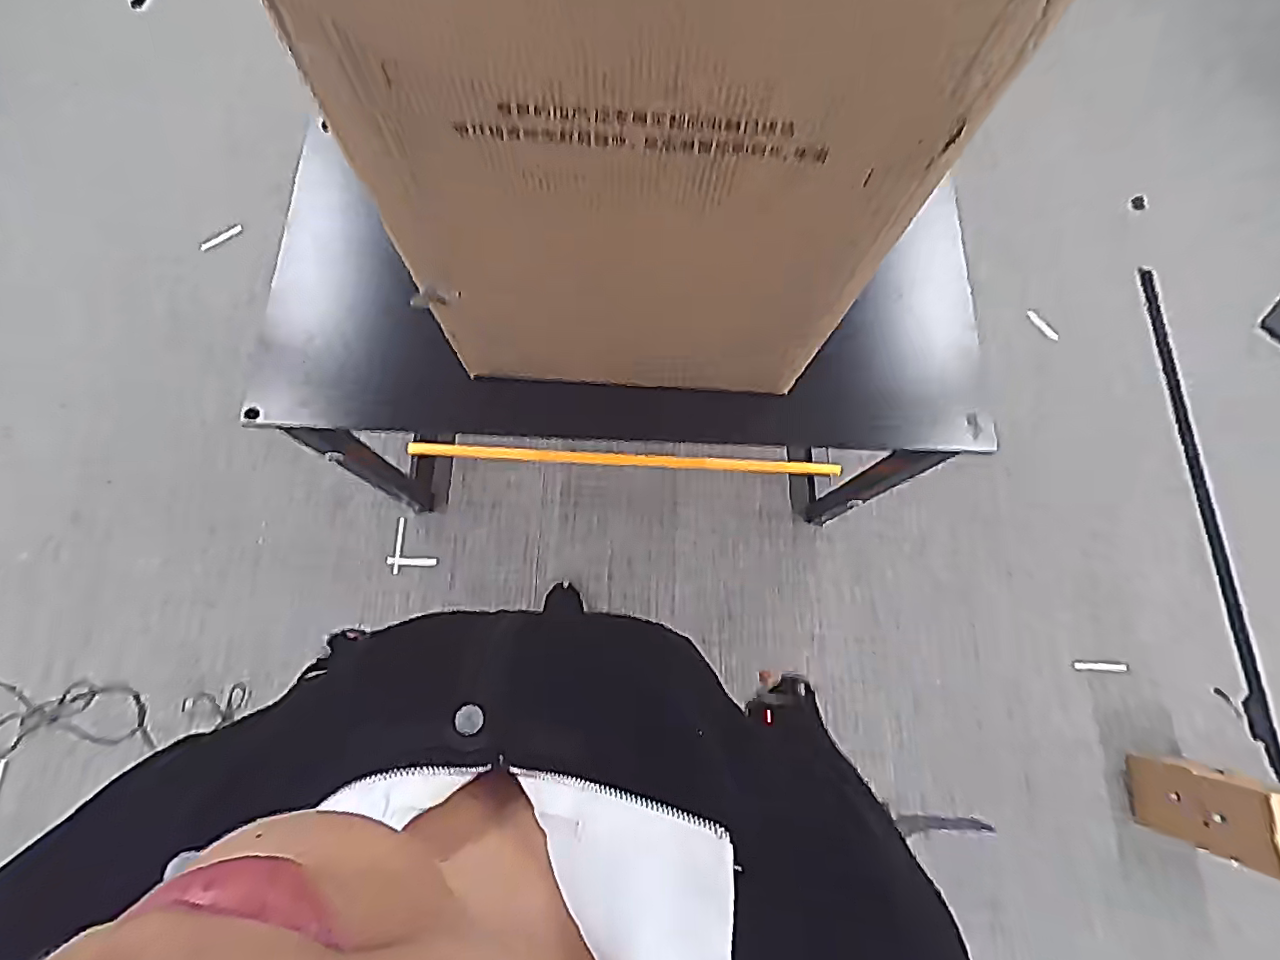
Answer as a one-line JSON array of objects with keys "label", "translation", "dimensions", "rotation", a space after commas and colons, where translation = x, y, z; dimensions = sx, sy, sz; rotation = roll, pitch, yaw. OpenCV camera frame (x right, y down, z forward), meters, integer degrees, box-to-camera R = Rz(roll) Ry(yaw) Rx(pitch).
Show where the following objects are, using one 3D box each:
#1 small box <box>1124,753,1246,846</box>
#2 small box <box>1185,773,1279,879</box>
[{"label": "small box", "translation": [1.386, 0.809, 1.375], "dimensions": [0.168, 0.176, 0.179], "rotation": [6, 75, -1]}, {"label": "small box", "translation": [1.399, 0.773, 1.214], "dimensions": [0.179, 0.176, 0.168], "rotation": [6, 75, -1]}]
